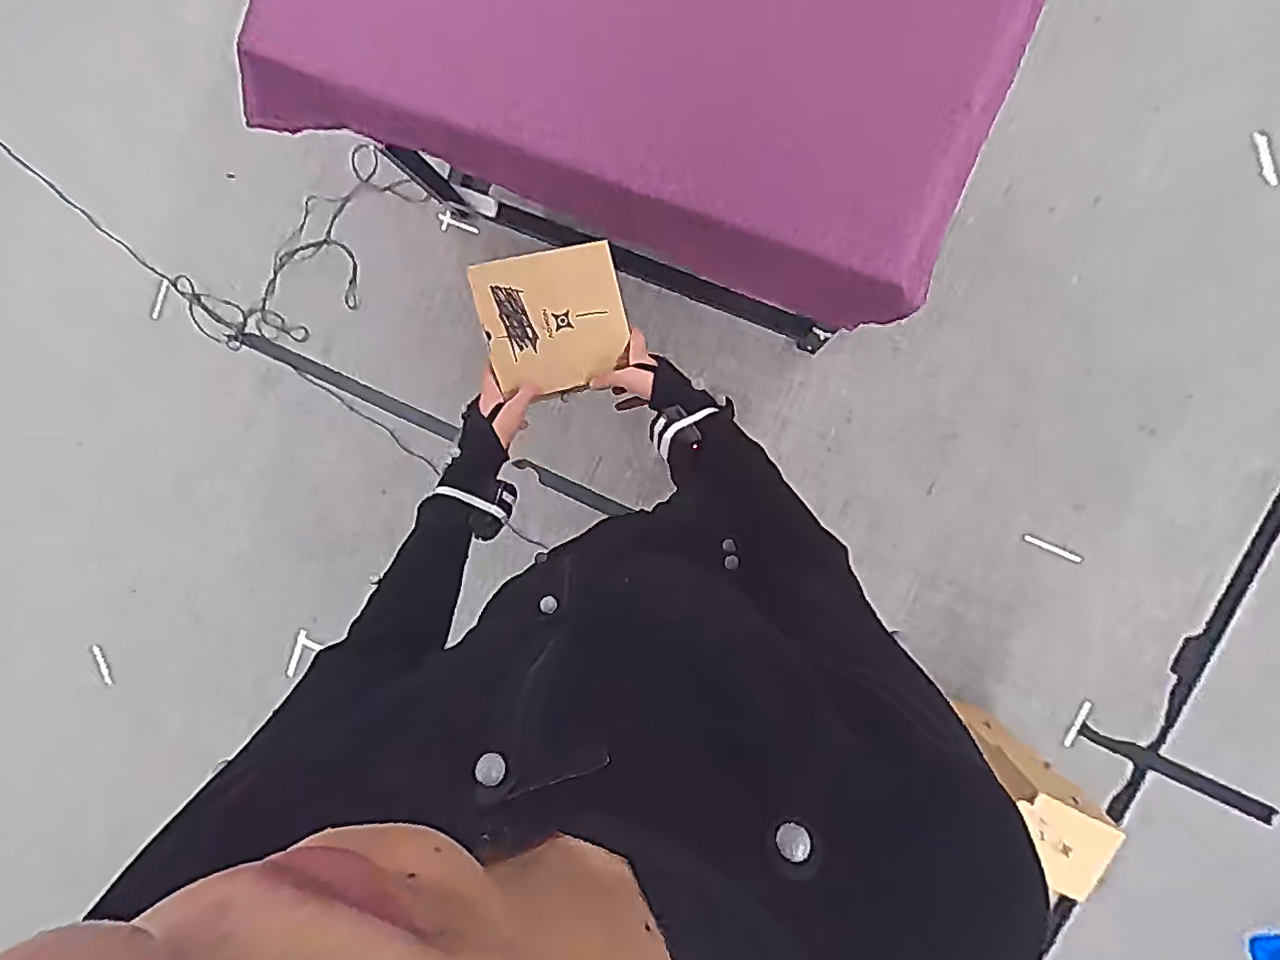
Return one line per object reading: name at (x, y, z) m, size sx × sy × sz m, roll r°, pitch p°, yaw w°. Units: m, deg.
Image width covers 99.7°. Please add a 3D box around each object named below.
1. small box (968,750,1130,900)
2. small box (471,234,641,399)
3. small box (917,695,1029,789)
small box at (0.836, 0.704, 1.127) m, size 0.179 × 0.176 × 0.168 m, roll 25°, pitch 97°, yaw 6°
small box at (-0.108, -0.208, 0.735) m, size 0.179 × 0.176 × 0.168 m, roll -15°, pitch 99°, yaw -5°
small box at (0.882, 0.708, 1.455) m, size 0.179 × 0.176 × 0.168 m, roll 20°, pitch 96°, yaw 6°
